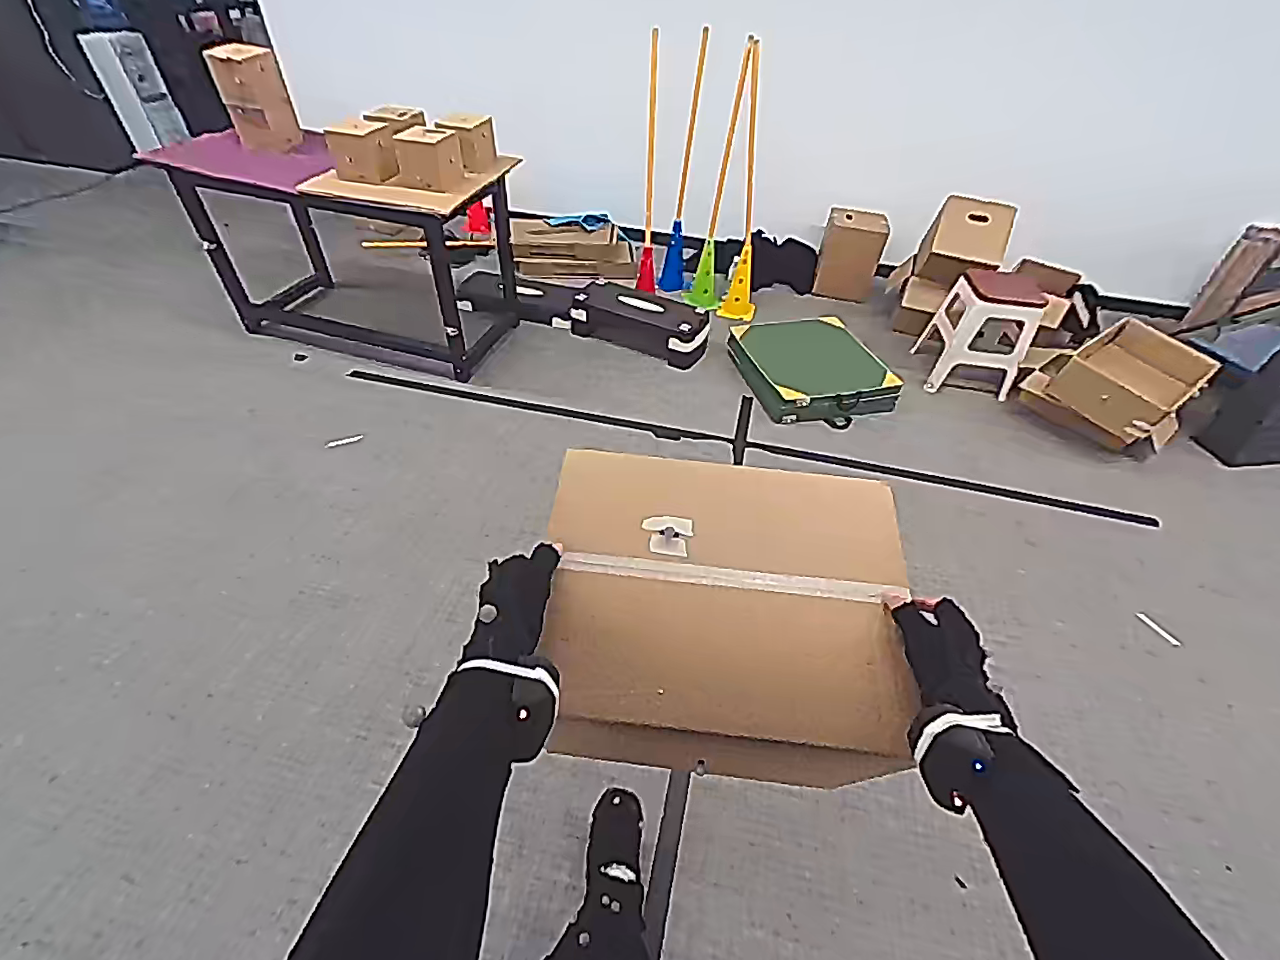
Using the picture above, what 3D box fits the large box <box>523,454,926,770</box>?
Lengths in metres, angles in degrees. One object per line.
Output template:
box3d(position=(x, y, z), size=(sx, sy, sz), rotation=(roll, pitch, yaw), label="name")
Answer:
box3d(position=(0.093, 0.191, 0.732), size=(0.408, 0.320, 0.320), rotation=(6, 55, 2), label="large box")
